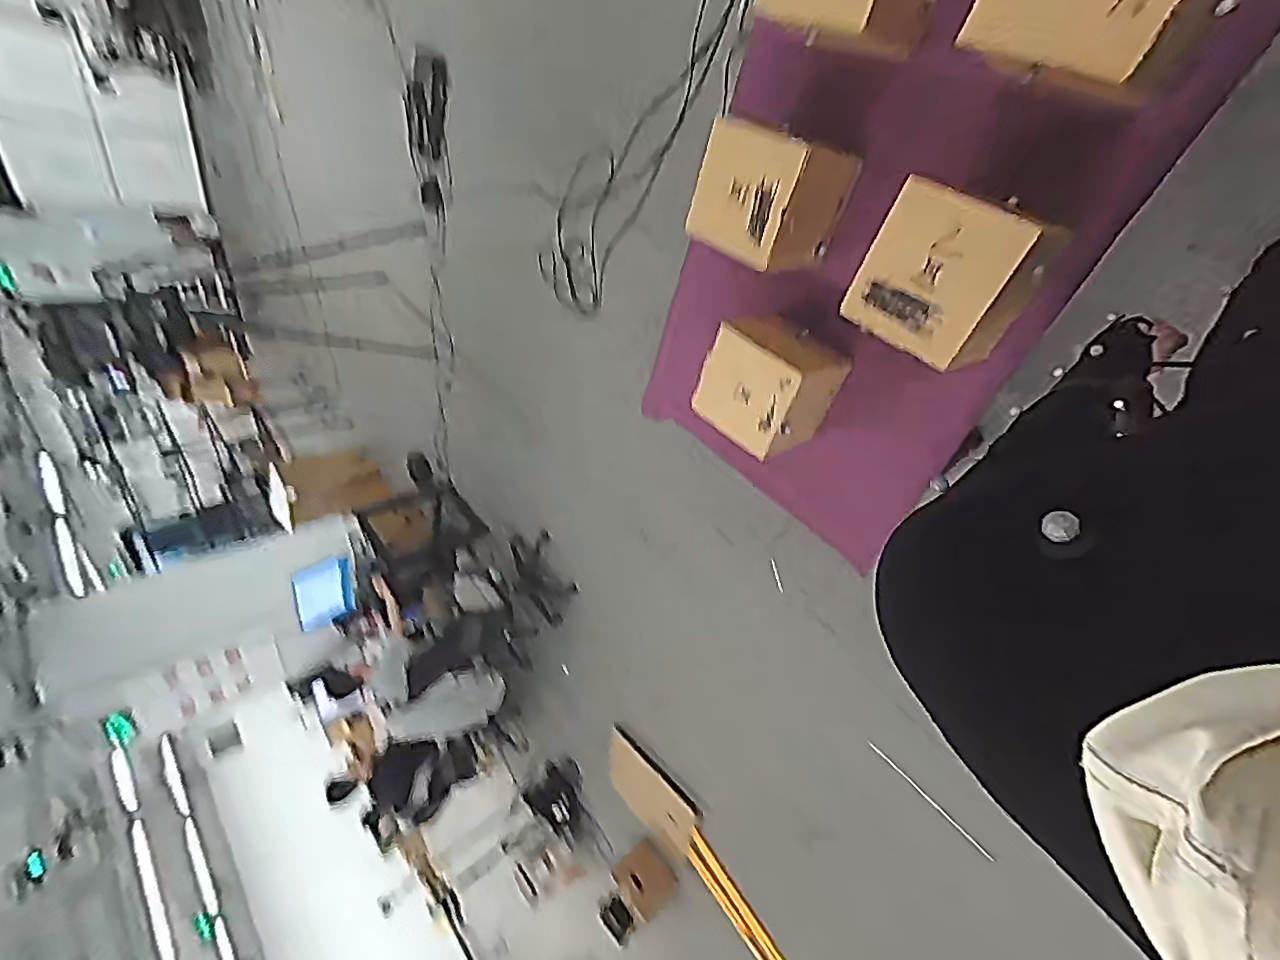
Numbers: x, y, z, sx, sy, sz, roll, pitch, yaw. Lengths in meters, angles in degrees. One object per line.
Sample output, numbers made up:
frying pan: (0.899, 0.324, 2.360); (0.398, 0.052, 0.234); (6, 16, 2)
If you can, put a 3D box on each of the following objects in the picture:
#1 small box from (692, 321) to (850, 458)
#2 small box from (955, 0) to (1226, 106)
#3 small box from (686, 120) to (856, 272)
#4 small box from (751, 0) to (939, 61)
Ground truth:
small box: (0.228, -0.168, 0.955); (0.179, 0.176, 0.168); (43, 134, 28)
small box: (0.472, -0.504, 0.545); (0.179, 0.176, 0.168); (44, 134, 28)
small box: (0.208, -0.448, 0.862); (0.179, 0.176, 0.168); (41, 132, 29)
small box: (0.281, -0.666, 0.693); (0.179, 0.176, 0.168); (40, 133, 29)
